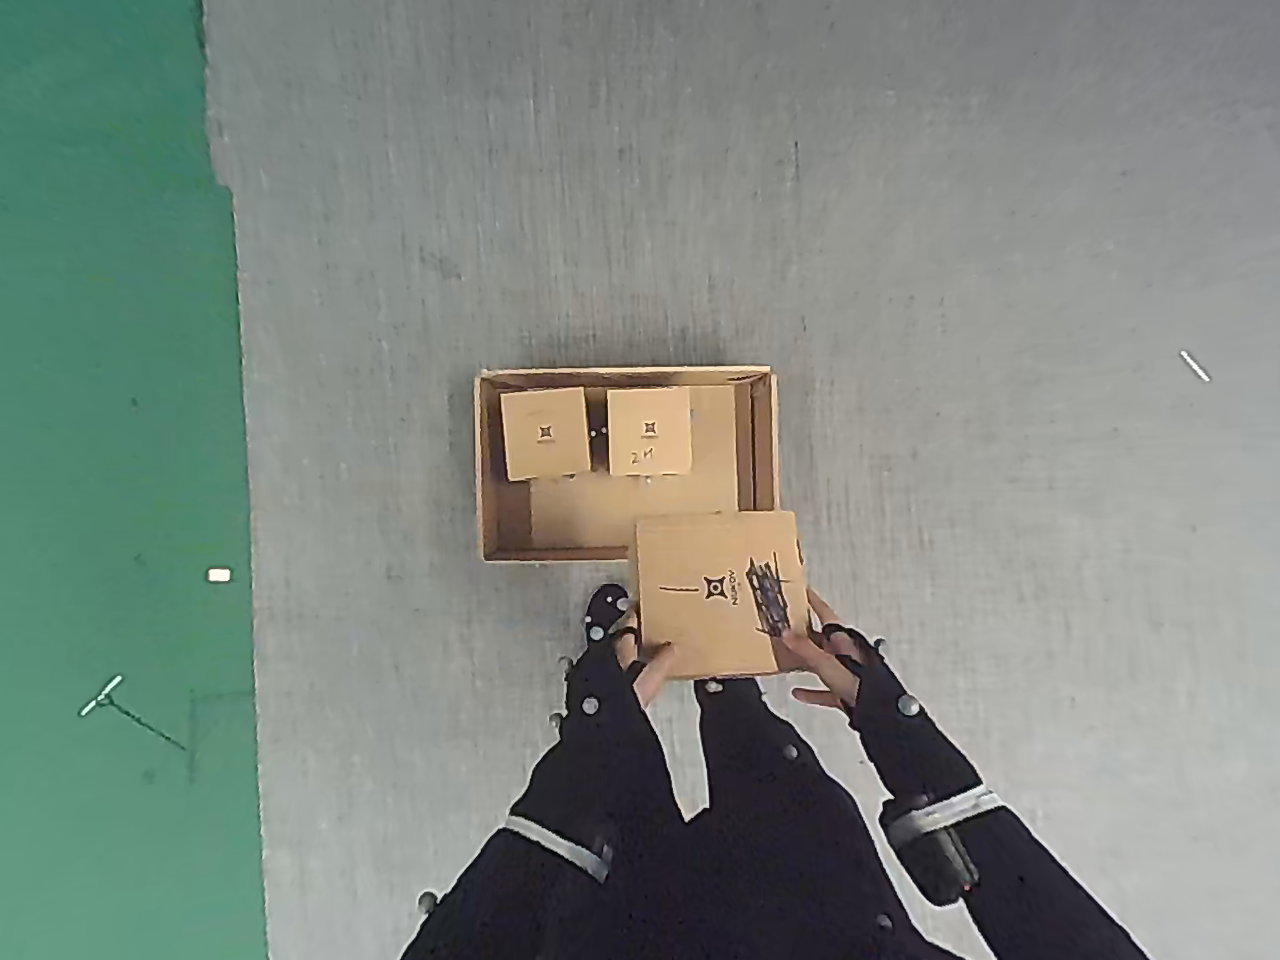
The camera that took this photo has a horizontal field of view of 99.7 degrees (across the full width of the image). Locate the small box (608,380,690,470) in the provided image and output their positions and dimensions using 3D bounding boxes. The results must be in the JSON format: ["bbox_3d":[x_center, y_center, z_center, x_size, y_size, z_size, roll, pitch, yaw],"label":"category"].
[{"bbox_3d":[0.017,-0.110,1.148,0.168,0.176,0.179,-1,91,0],"label":"small box"}]

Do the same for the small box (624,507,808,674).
[{"bbox_3d":[0.073,0.134,0.626,0.179,0.176,0.168,-1,69,-3],"label":"small box"}]
